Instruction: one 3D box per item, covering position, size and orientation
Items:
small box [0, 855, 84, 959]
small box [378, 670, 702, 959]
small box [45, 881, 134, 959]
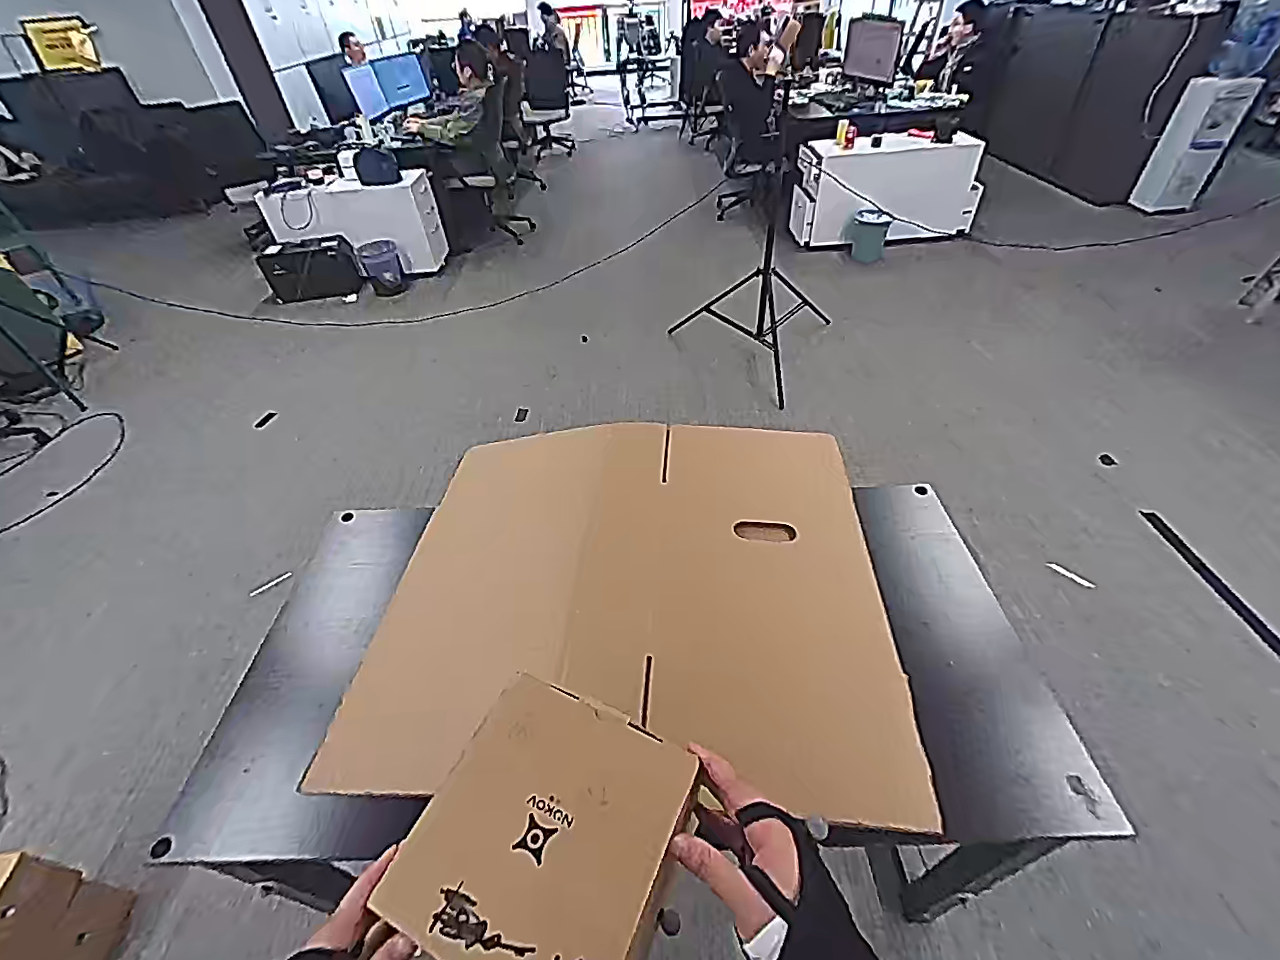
[{"bbox_3d":[-1.255,0.859,1.041,0.168,0.176,0.179,-7,41,-4],"label":"small box"},{"bbox_3d":[-0.059,0.294,0.432,0.168,0.176,0.179,16,48,21],"label":"small box"},{"bbox_3d":[-1.243,0.982,1.146,0.168,0.176,0.179,-6,43,-1],"label":"small box"}]
